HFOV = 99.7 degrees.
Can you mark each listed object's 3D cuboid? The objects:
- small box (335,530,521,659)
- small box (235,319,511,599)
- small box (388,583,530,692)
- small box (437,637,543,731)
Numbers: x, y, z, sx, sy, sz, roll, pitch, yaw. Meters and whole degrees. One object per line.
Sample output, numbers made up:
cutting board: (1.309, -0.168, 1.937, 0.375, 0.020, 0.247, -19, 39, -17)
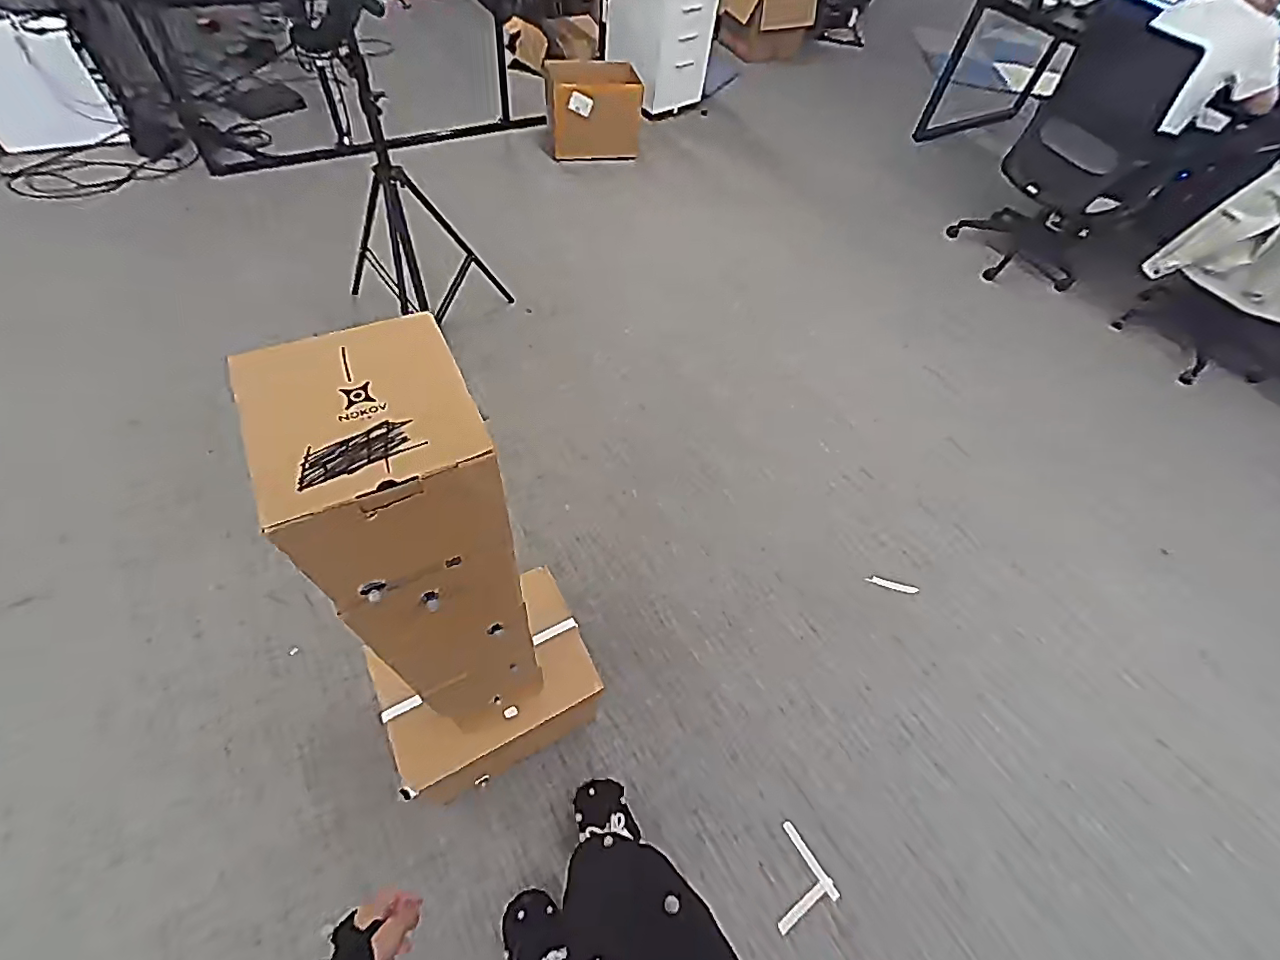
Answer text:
small box: (-0.248, 0.082, 0.632, 0.179, 0.176, 0.168, -21, 62, -20)
small box: (-0.228, -0.010, 0.497, 0.168, 0.176, 0.179, -21, 61, -20)
small box: (-0.264, 0.172, 0.765, 0.179, 0.176, 0.168, -22, 62, -20)
small box: (-0.296, 0.354, 1.037, 0.179, 0.176, 0.168, -24, 64, -23)
